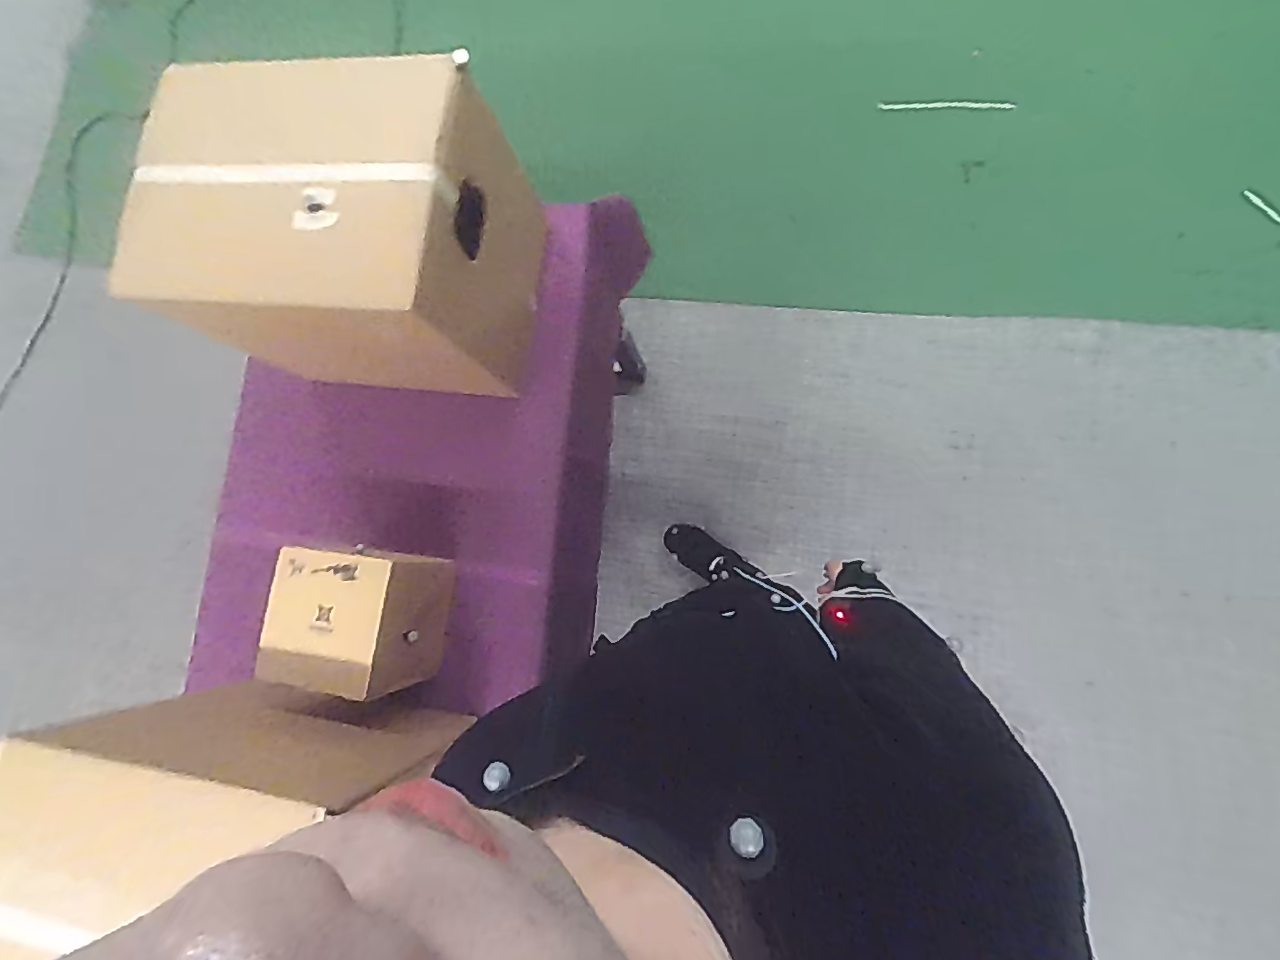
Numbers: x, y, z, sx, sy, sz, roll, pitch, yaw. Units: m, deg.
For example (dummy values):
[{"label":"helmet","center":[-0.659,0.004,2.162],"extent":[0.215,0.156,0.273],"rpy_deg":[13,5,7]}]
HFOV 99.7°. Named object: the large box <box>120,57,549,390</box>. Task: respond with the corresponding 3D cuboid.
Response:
[{"label":"large box","center":[-0.385,-0.334,0.778],"extent":[0.408,0.320,0.320],"rpy_deg":[6,82,9]}]
